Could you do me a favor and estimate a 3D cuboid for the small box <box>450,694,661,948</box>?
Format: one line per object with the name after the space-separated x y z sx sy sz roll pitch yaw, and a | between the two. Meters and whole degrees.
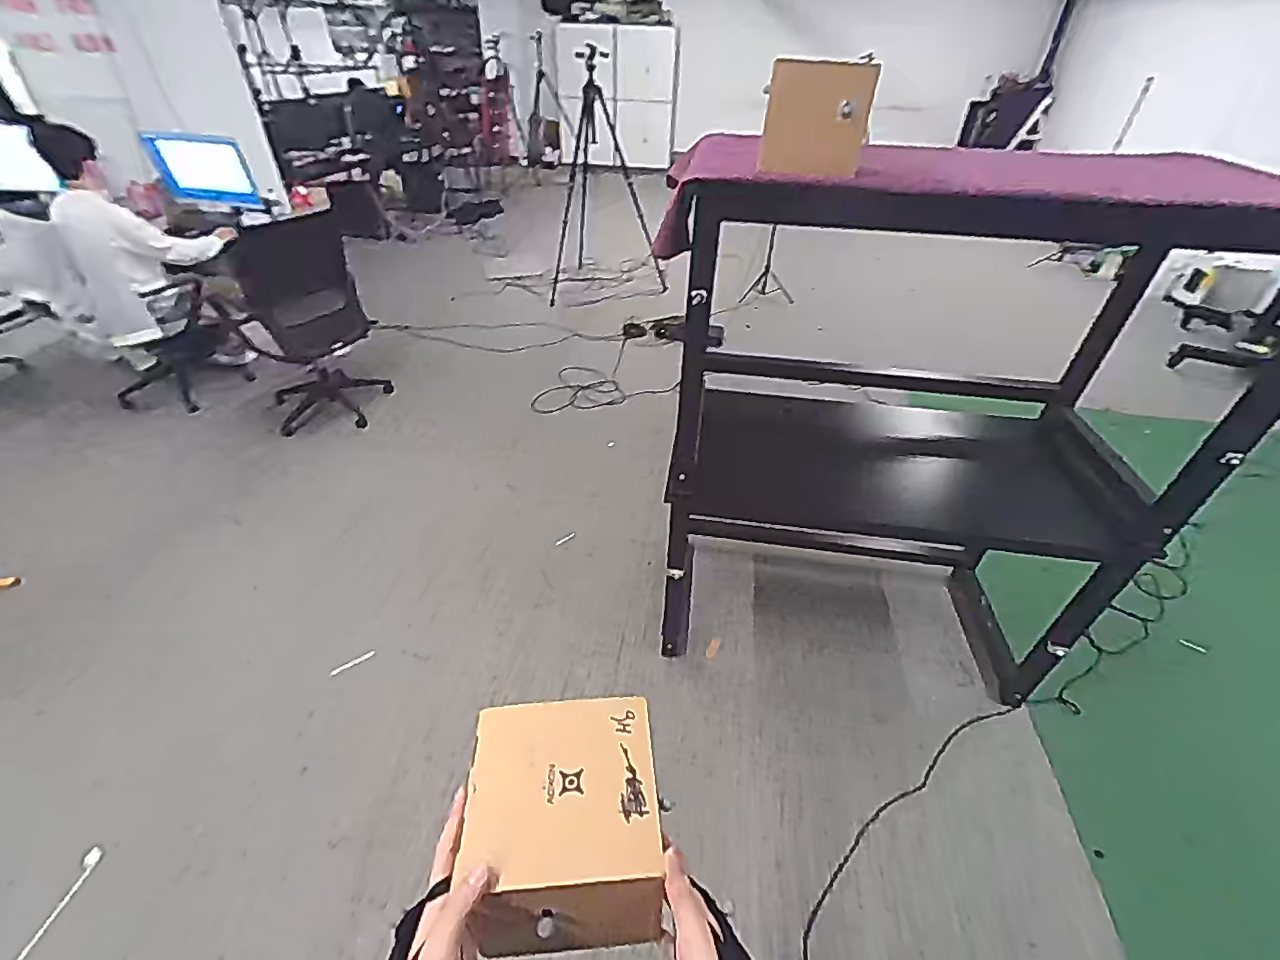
-0.071 0.344 0.550 0.179 0.176 0.168 -2 35 -3 | small box
